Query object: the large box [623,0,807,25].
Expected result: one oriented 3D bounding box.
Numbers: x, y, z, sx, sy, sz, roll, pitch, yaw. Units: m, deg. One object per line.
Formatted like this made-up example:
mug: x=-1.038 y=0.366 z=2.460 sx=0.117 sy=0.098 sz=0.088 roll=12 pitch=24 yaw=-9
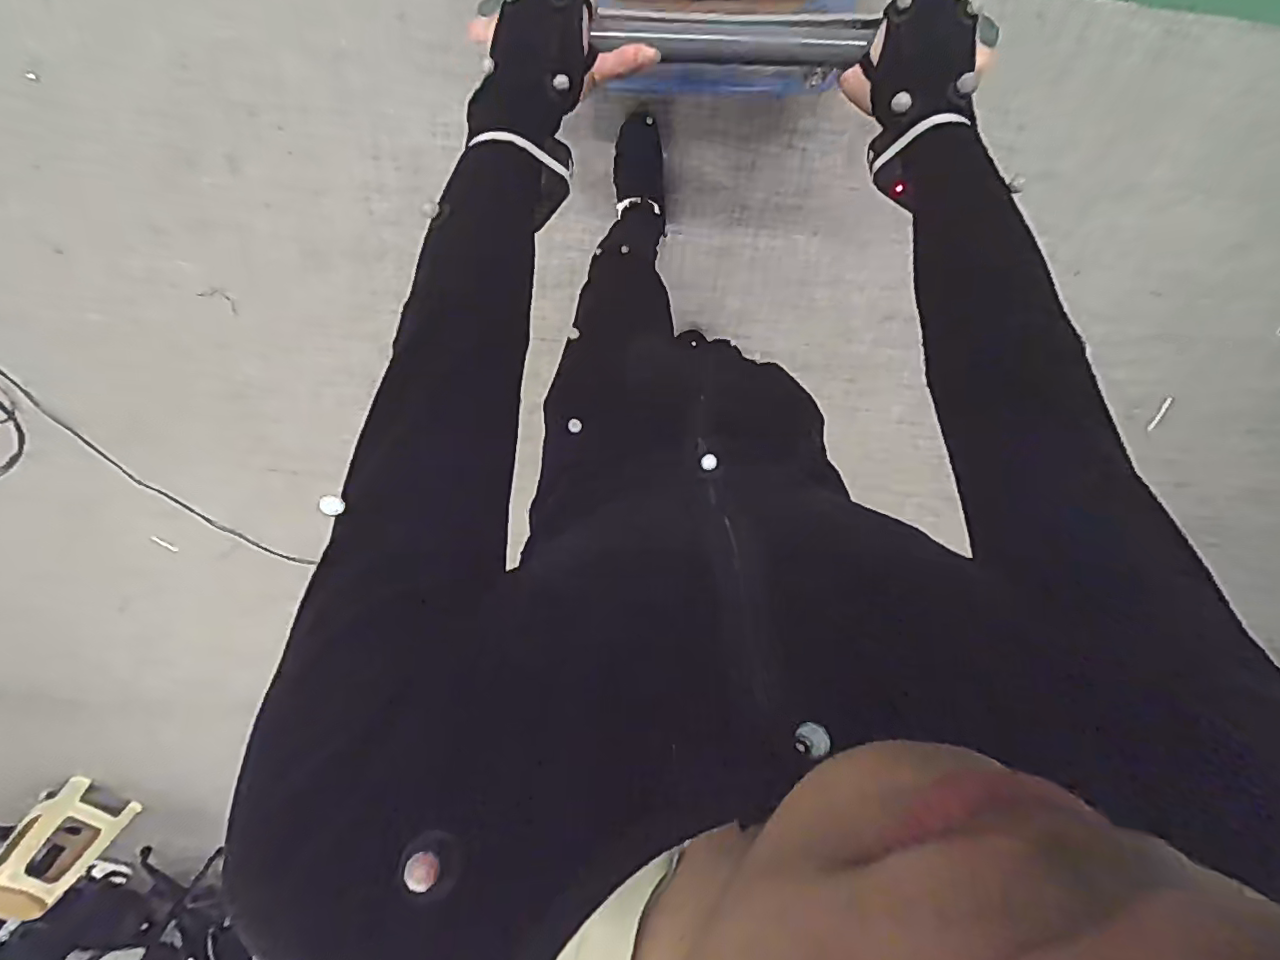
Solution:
large box: x=0.119 y=-0.938 z=0.772 sx=0.320 sy=0.320 sz=0.408 roll=1 pitch=121 yaw=0
